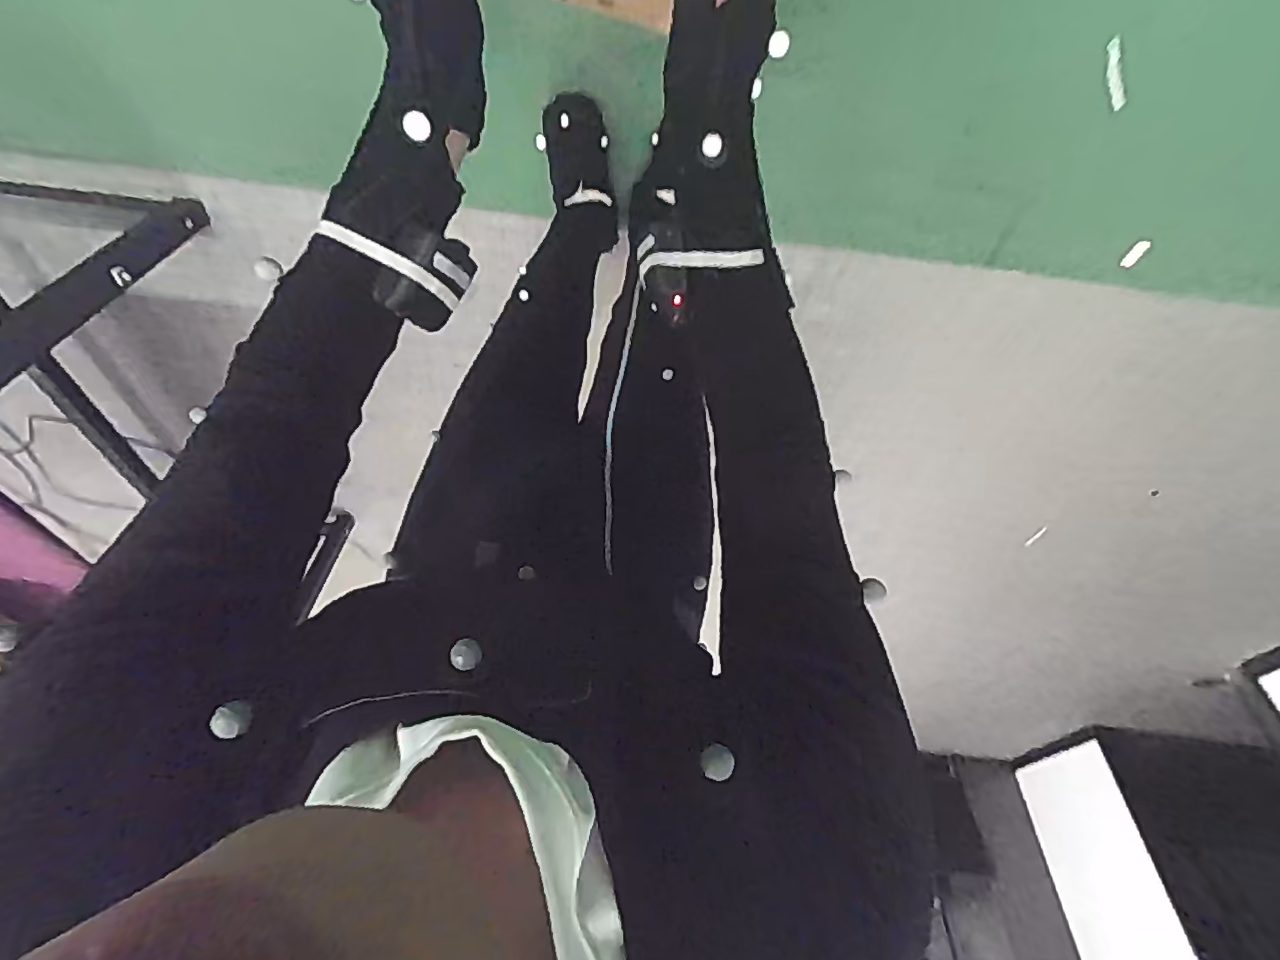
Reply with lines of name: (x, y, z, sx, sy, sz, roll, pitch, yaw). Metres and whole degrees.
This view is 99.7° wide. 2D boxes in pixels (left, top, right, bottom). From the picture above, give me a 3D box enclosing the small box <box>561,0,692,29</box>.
small box: (-0.022, -0.440, 0.349, 0.168, 0.176, 0.179, 6, 117, -15)
